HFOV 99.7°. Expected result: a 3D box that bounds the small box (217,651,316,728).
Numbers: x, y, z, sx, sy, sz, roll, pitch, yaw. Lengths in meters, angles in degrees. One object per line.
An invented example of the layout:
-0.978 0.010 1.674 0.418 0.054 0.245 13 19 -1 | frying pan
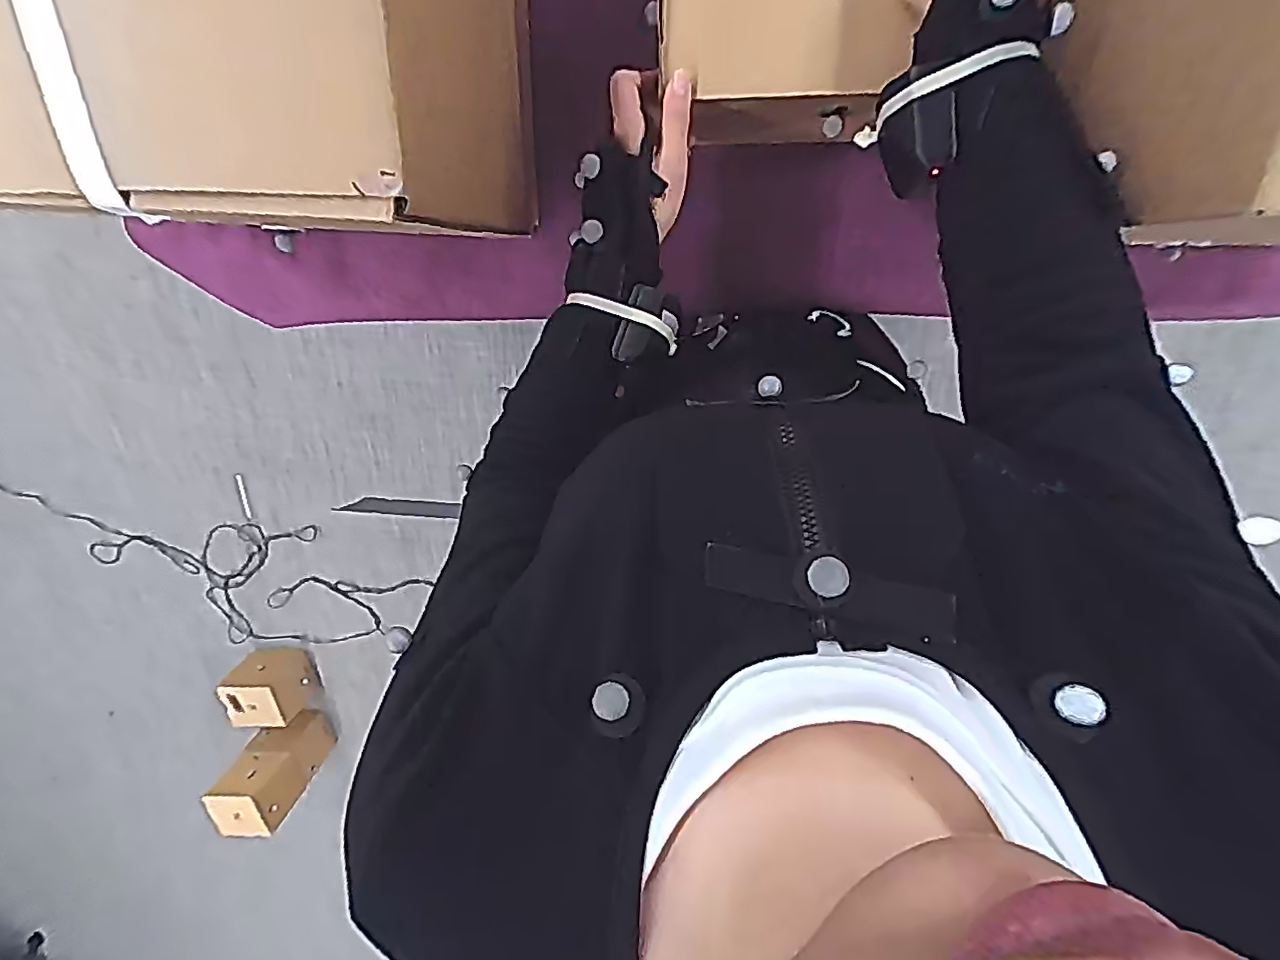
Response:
-1.187 0.666 1.731 0.179 0.176 0.168 -1 114 5 | small box

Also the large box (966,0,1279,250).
0.442 -0.350 0.295 0.320 0.320 0.408 3 111 3 | large box

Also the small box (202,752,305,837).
-1.198 0.978 1.689 0.168 0.176 0.179 -4 113 7 | small box
